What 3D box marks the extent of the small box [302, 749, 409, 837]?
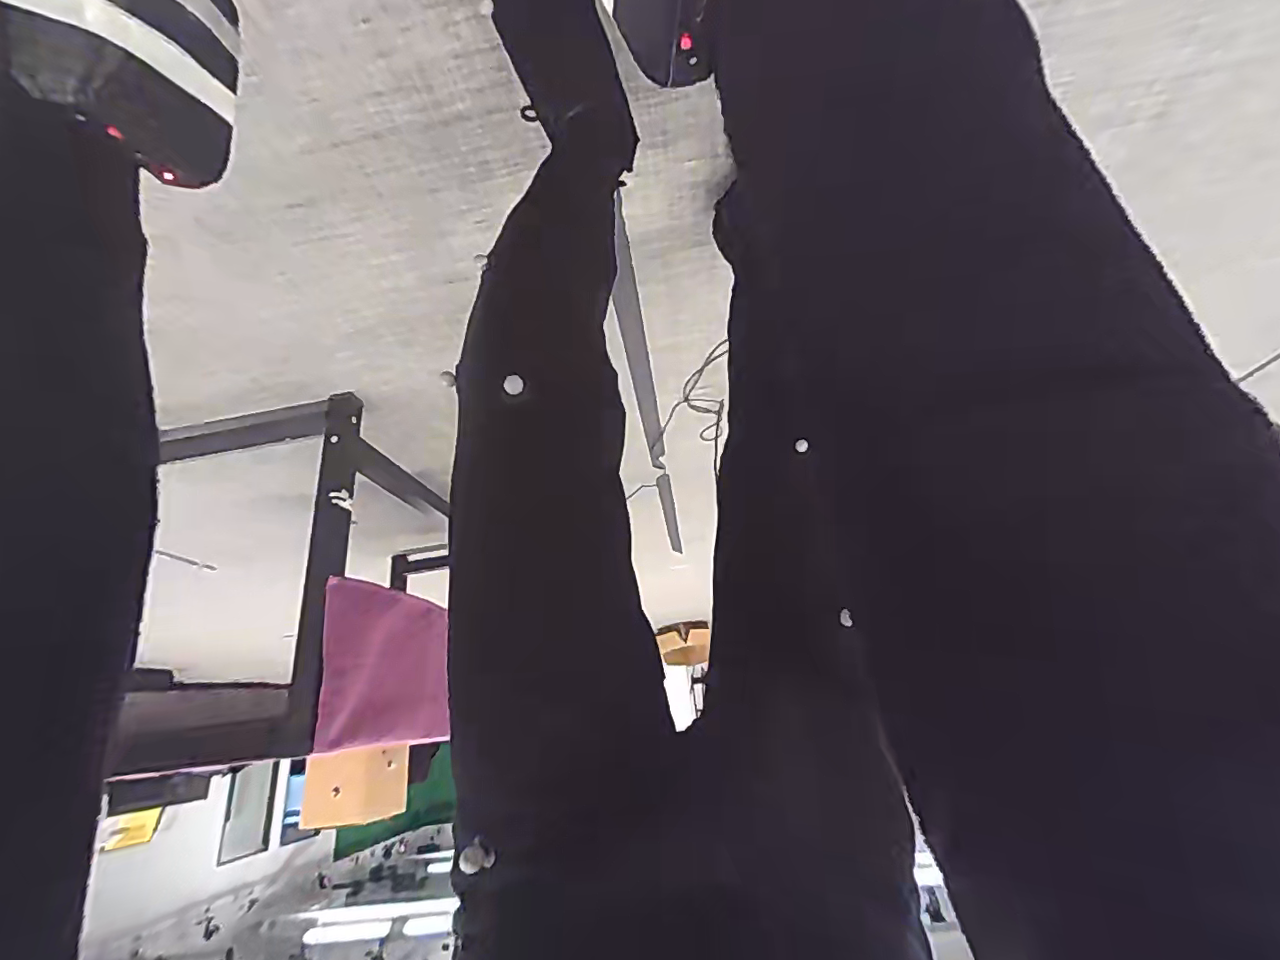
[{"bbox_3d":[-0.707,0.782,1.367,0.179,0.176,0.168,-12,156,9],"label":"small box"}]
